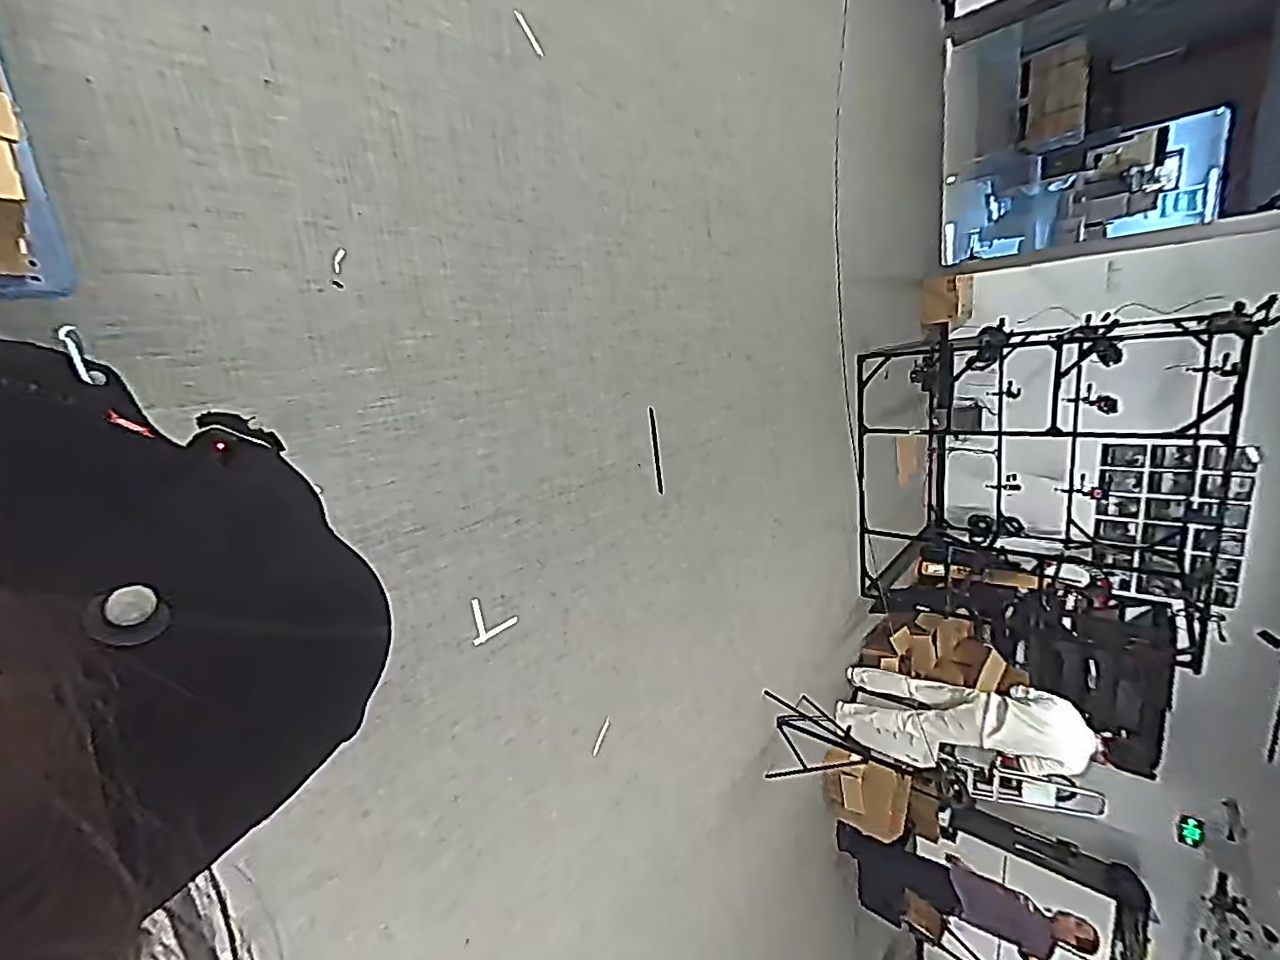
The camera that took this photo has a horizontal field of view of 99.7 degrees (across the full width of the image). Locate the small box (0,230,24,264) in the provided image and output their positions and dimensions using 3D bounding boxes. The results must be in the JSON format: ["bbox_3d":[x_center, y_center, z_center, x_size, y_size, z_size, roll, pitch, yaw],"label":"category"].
[{"bbox_3d":[-0.884,-0.371,0.644,0.168,0.176,0.179,-18,108,-46],"label":"small box"}]

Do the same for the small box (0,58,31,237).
[{"bbox_3d":[-0.758,-0.356,0.541,0.179,0.176,0.168,-13,103,-47],"label":"small box"}]
